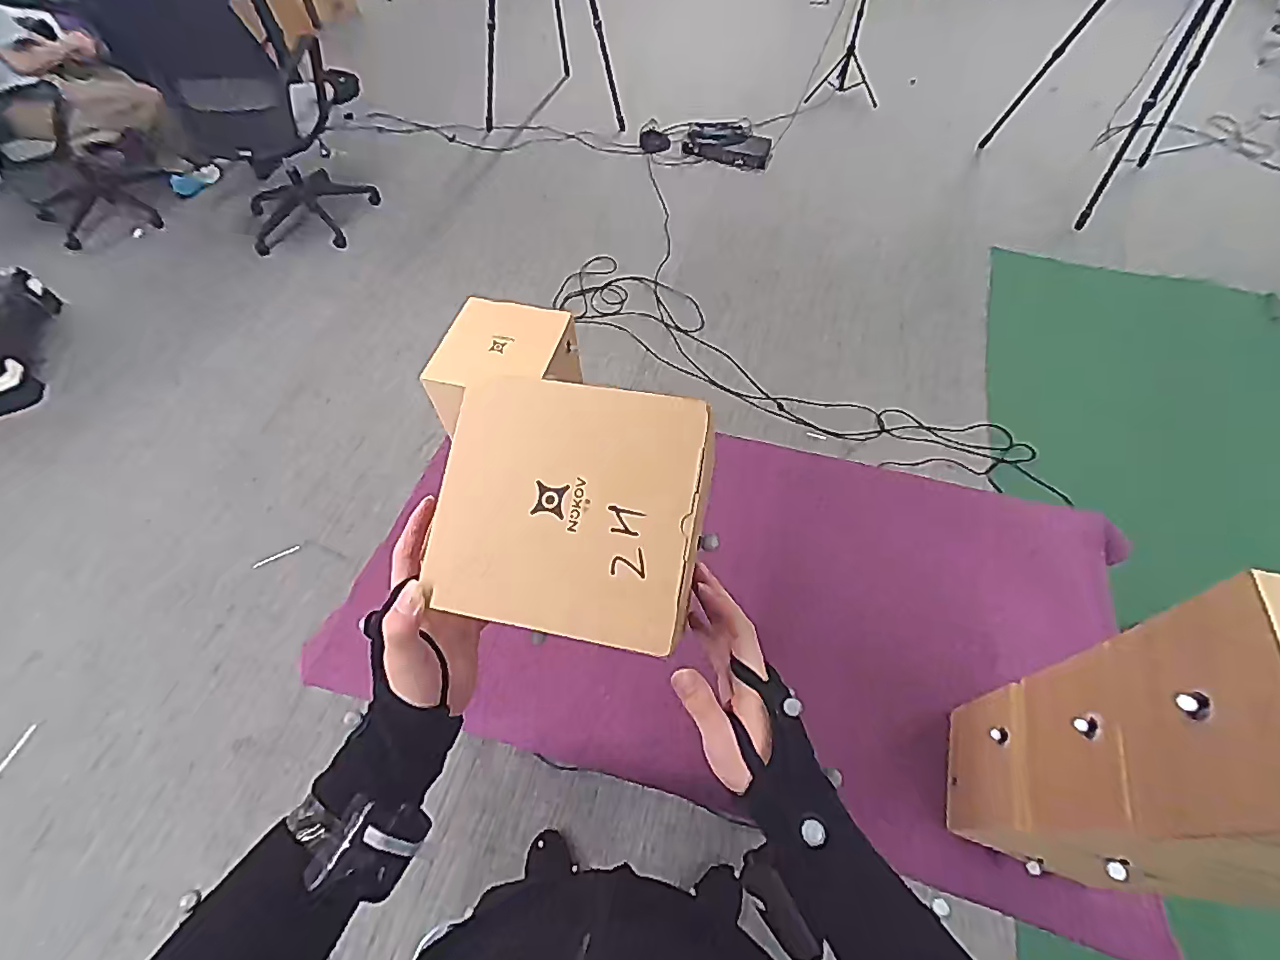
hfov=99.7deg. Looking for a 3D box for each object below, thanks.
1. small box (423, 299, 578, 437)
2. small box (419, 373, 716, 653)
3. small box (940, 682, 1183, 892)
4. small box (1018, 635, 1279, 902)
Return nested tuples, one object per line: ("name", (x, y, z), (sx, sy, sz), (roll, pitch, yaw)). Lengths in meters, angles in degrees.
("small box", (-0.198, -0.147, 0.836), (0.168, 0.176, 0.179), (11, 58, 8))
("small box", (-0.038, 0.030, 0.437), (0.179, 0.176, 0.168), (10, 81, 9))
("small box", (0.512, 0.381, 0.682), (0.179, 0.176, 0.168), (17, 58, 11))
("small box", (0.513, 0.289, 0.547), (0.168, 0.176, 0.179), (16, 58, 13))
